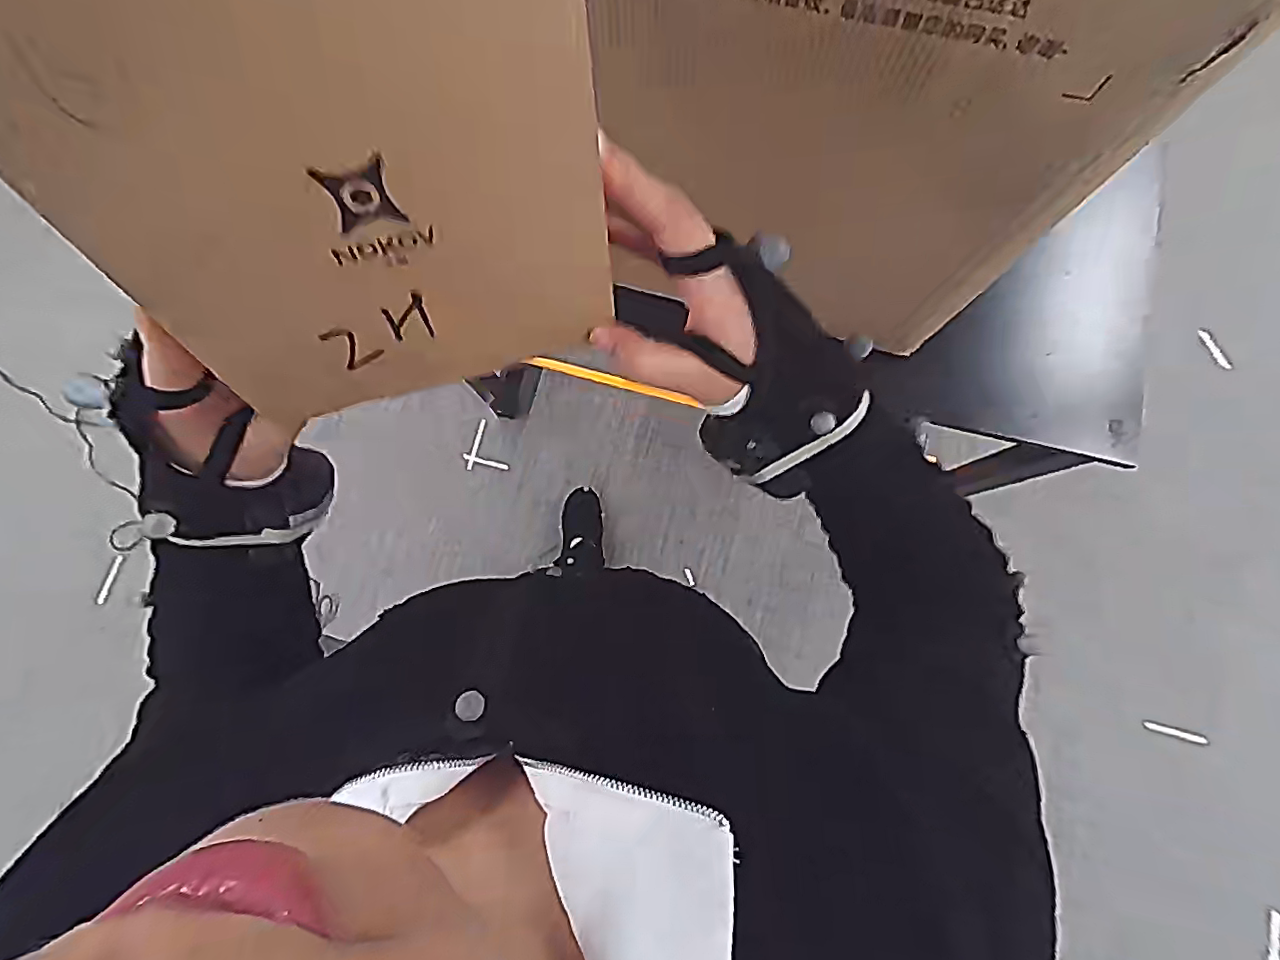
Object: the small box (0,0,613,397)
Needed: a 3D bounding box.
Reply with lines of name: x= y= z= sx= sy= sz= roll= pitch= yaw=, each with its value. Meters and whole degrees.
small box: x=-0.117 y=-0.167 z=0.209 sx=0.168 sy=0.179 sz=0.176 roll=-17 pitch=63 yaw=-6
